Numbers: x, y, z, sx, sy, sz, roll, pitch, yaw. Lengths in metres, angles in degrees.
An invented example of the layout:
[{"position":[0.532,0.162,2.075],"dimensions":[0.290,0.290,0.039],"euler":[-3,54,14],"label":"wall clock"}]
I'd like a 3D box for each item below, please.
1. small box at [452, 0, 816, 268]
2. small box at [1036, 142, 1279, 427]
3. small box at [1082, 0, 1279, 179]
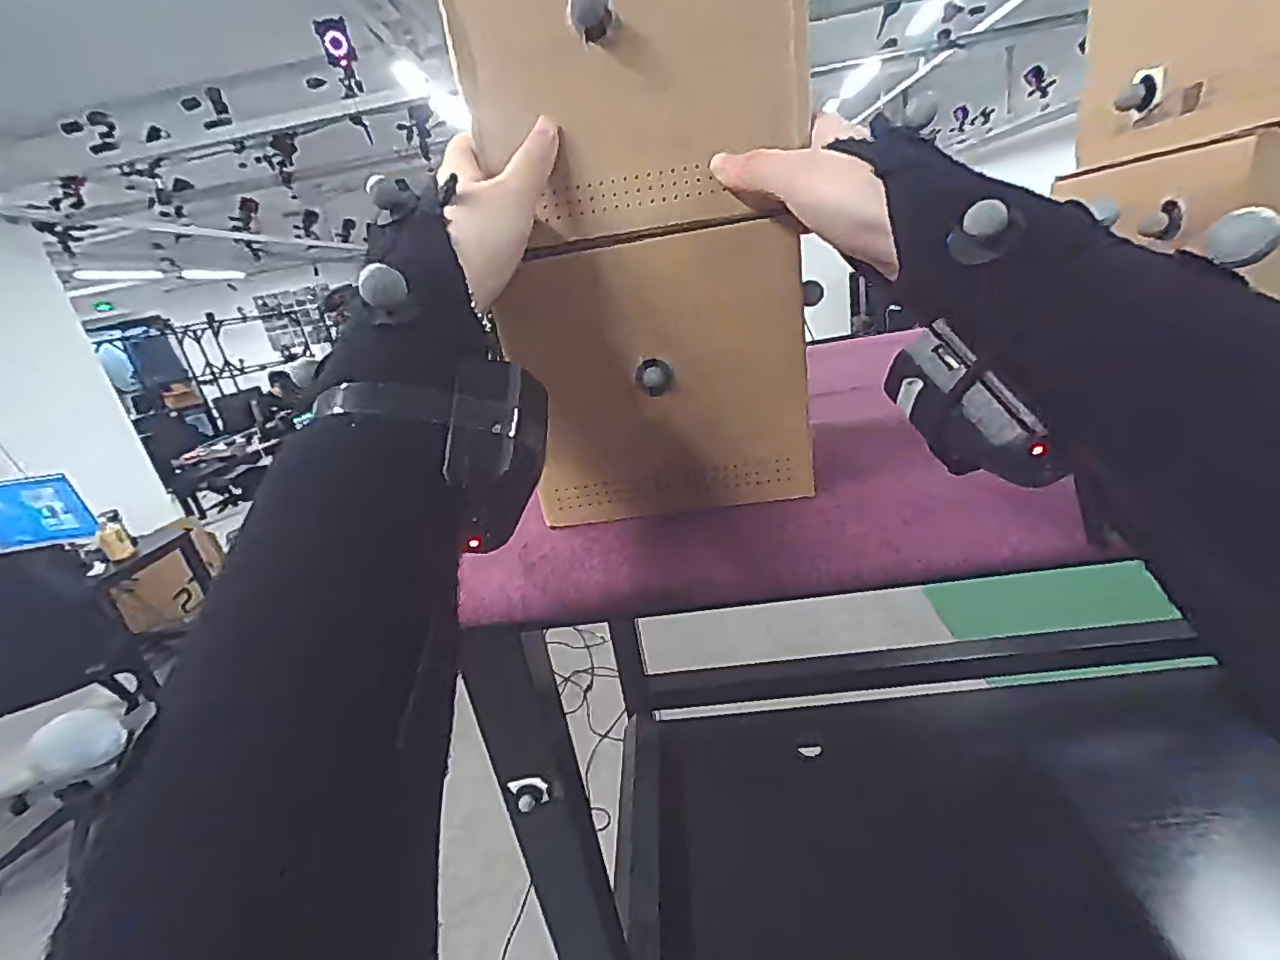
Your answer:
[{"position":[0.000,-0.232,0.336],"dimensions":[0.179,0.176,0.168],"euler":[-7,21,5],"label":"small box"},{"position":[0.419,-0.139,0.380],"dimensions":[0.168,0.176,0.179],"euler":[-6,21,7],"label":"small box"},{"position":[0.404,-0.286,0.311],"dimensions":[0.179,0.176,0.168],"euler":[-8,20,8],"label":"small box"}]
